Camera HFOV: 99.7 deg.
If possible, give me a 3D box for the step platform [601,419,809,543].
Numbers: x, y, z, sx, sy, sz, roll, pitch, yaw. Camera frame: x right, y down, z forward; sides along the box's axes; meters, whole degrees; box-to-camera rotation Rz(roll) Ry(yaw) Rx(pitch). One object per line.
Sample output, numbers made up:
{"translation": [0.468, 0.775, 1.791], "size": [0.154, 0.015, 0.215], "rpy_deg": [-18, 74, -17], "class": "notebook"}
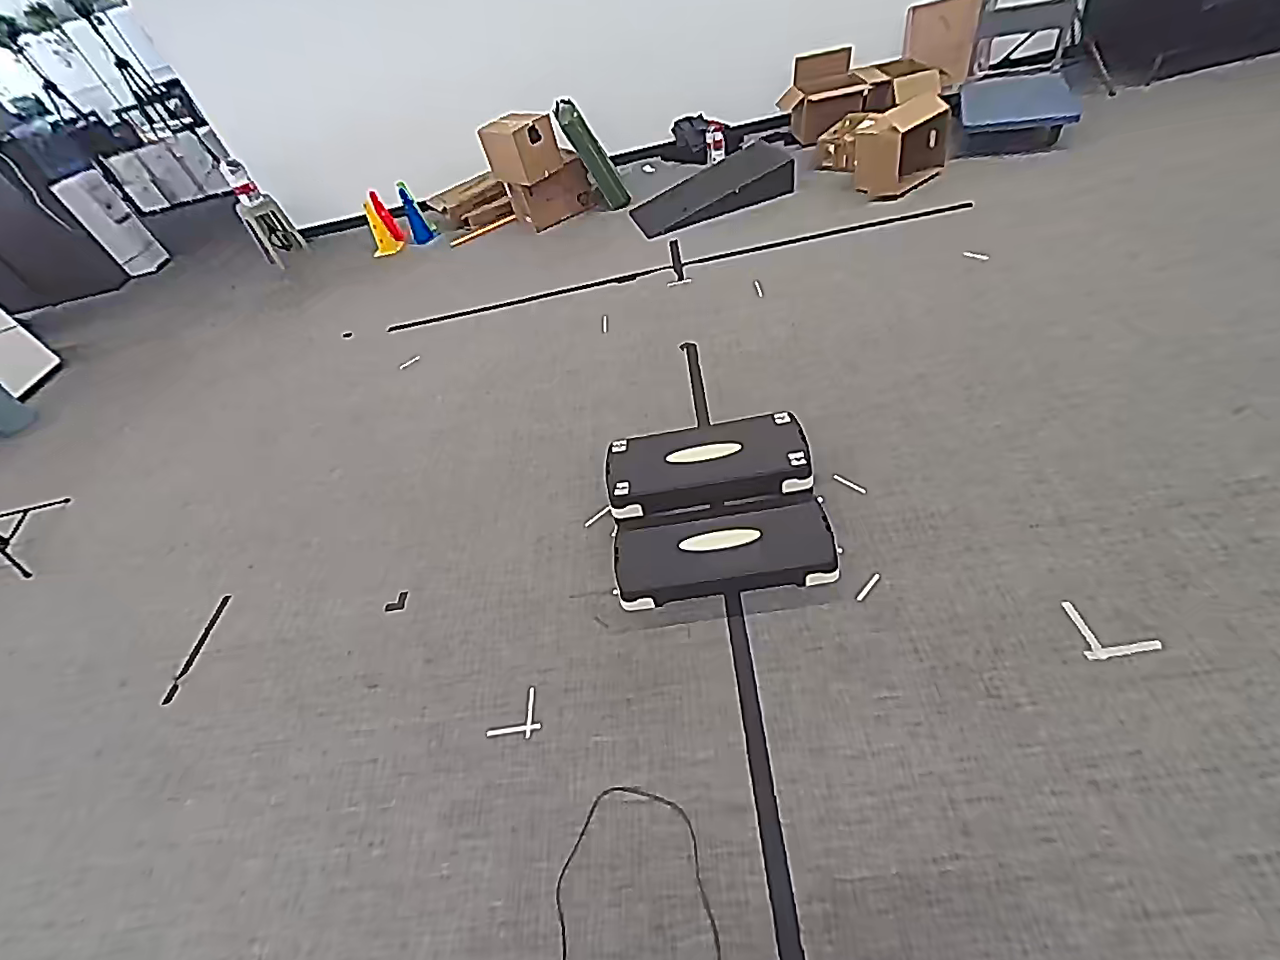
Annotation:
{"translation": [0.209, -0.002, 1.828], "size": [0.684, 0.204, 0.286], "rpy_deg": [-10, 47, 5], "class": "step platform"}
